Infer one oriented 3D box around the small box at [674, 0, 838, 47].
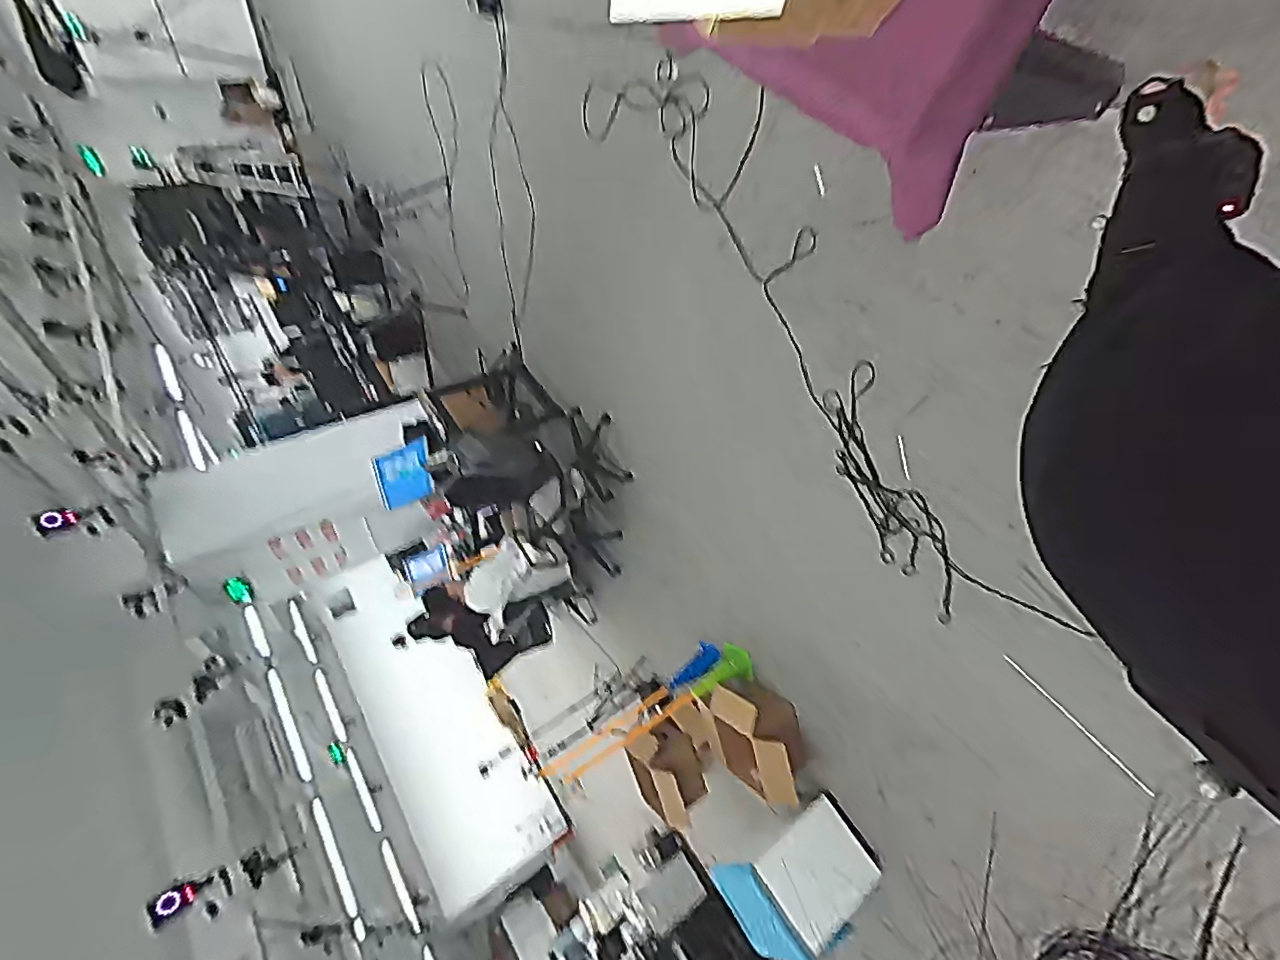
[{"bbox_3d":[0.123,-0.574,0.534,0.168,0.176,0.179,58,151,14],"label":"small box"}]
